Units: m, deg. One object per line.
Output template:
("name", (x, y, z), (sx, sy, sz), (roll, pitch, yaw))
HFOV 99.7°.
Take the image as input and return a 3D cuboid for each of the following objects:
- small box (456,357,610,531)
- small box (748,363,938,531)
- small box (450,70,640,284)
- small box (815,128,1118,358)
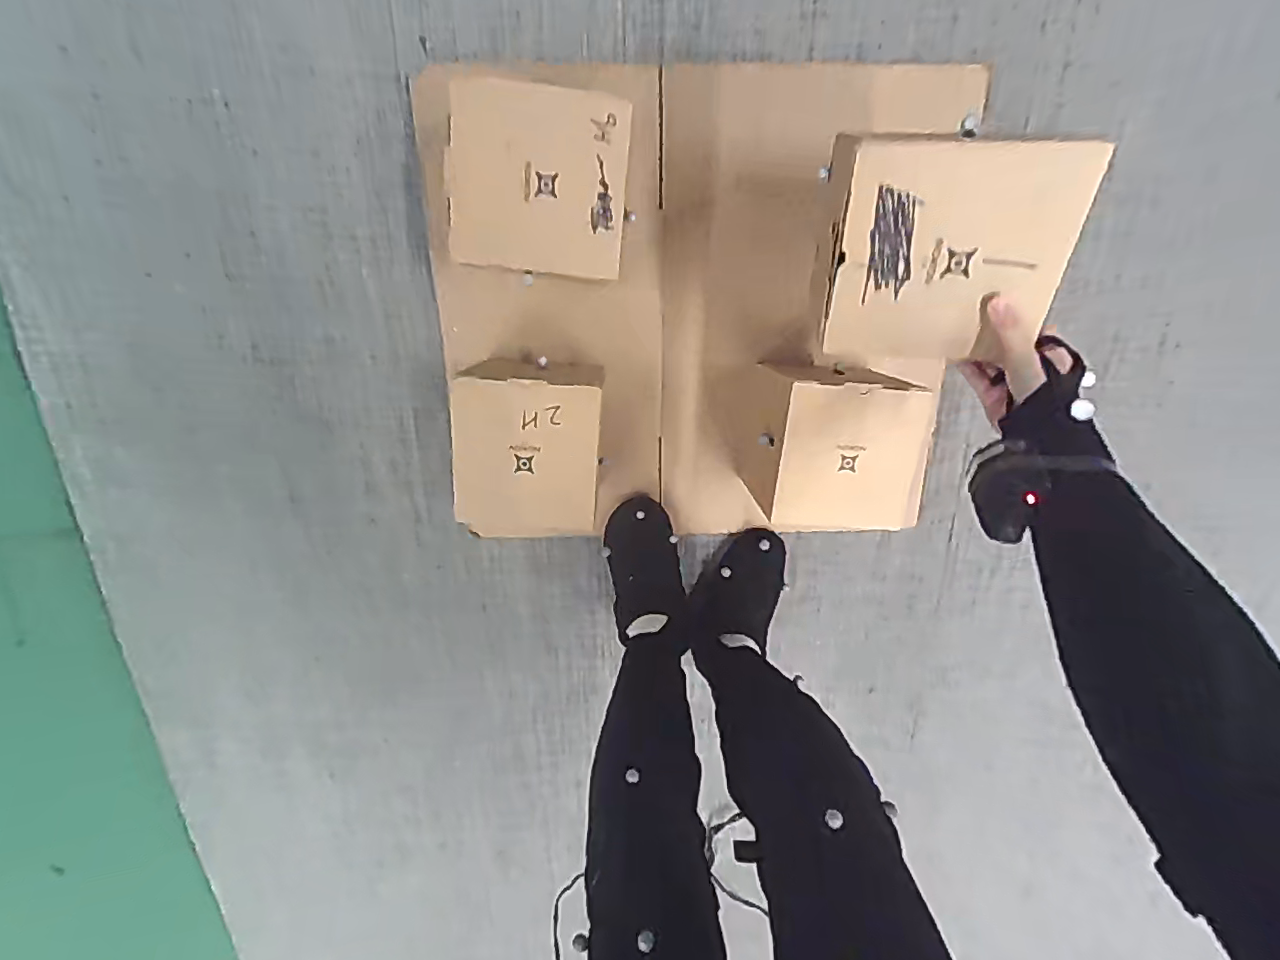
("small box", (-0.127, -0.052, 0.685), (0.168, 0.176, 0.179), (4, 108, -4))
("small box", (0.243, -0.050, 0.699), (0.168, 0.176, 0.179), (3, 108, -3))
("small box", (-0.096, -0.315, 0.600), (0.179, 0.176, 0.168), (6, 107, -4))
("small box", (0.267, -0.226, 0.502), (0.179, 0.176, 0.168), (6, 124, 9))
